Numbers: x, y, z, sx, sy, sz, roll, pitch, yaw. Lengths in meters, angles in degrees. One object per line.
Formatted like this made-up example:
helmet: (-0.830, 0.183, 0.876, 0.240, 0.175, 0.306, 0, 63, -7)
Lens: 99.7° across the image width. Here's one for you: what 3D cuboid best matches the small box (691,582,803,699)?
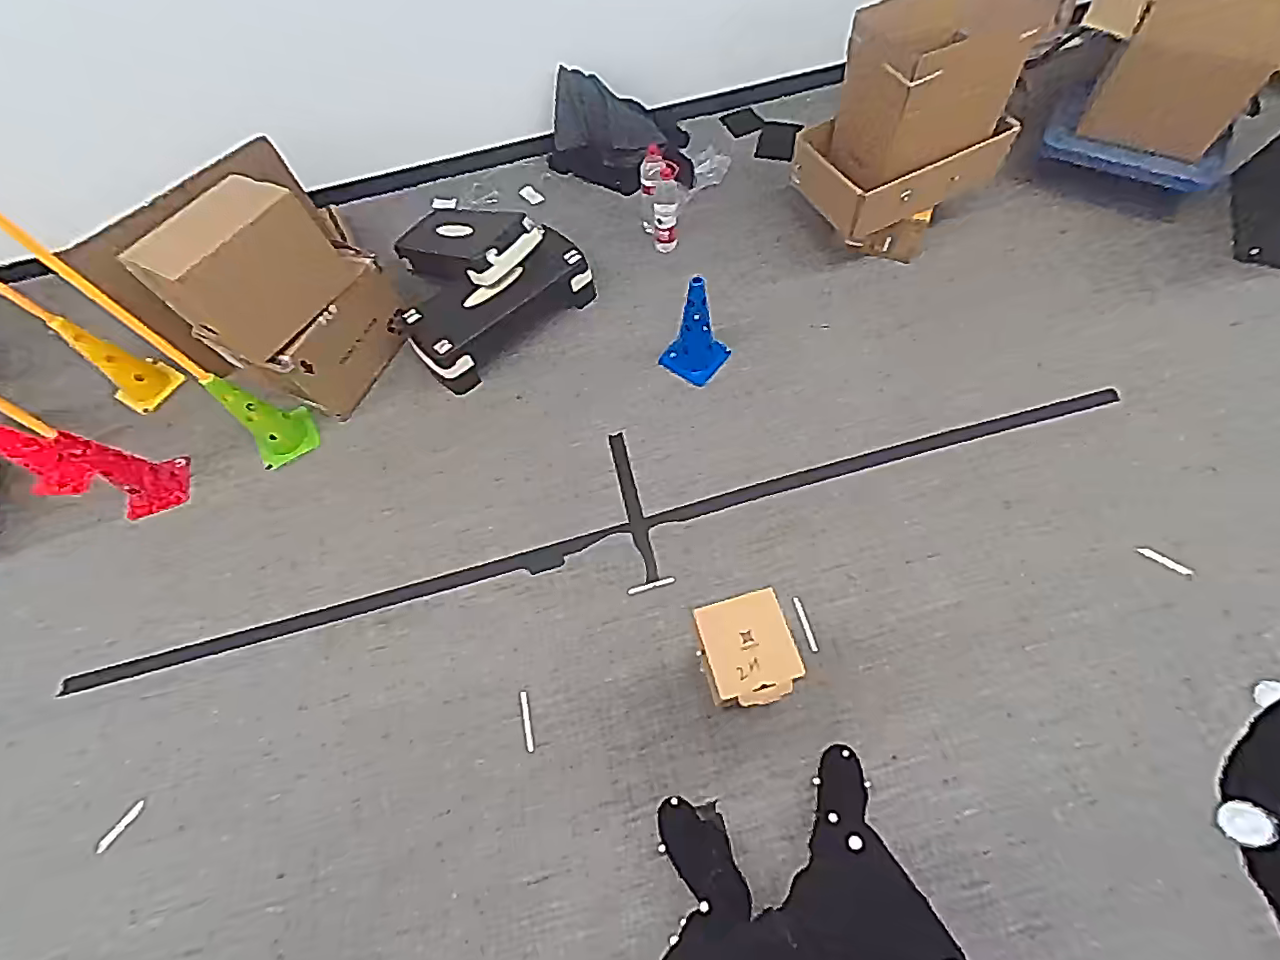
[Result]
small box: (0.203, 0.328, 1.090, 0.168, 0.176, 0.179, -16, 64, -3)
